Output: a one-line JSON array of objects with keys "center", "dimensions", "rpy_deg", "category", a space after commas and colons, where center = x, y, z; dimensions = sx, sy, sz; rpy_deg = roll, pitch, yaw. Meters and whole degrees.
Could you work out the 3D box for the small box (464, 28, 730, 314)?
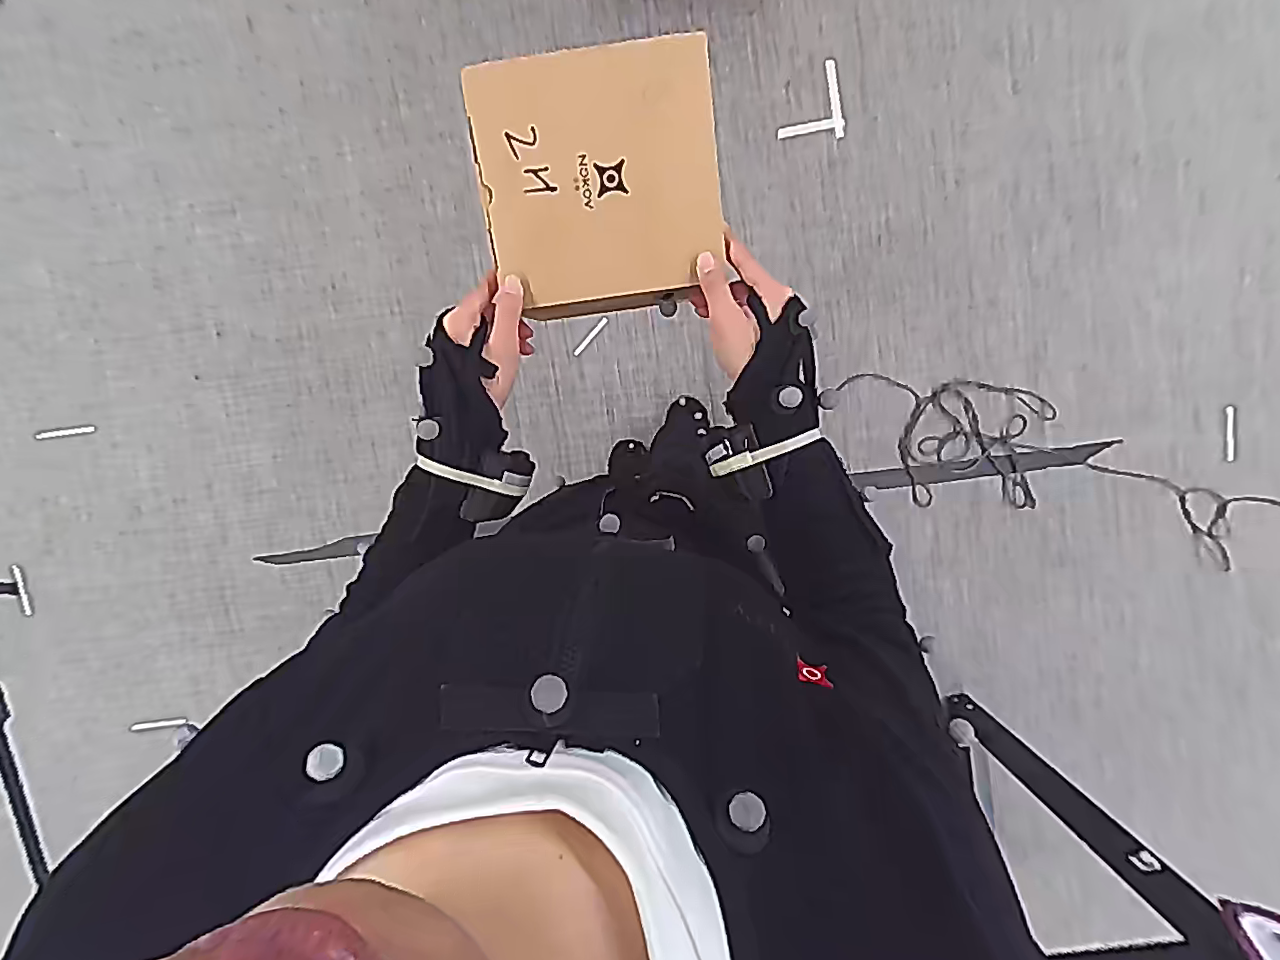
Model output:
[{"center": [-0.028, -0.241, 0.467], "dimensions": [0.179, 0.176, 0.168], "rpy_deg": [-7, 103, 1], "category": "small box"}]
